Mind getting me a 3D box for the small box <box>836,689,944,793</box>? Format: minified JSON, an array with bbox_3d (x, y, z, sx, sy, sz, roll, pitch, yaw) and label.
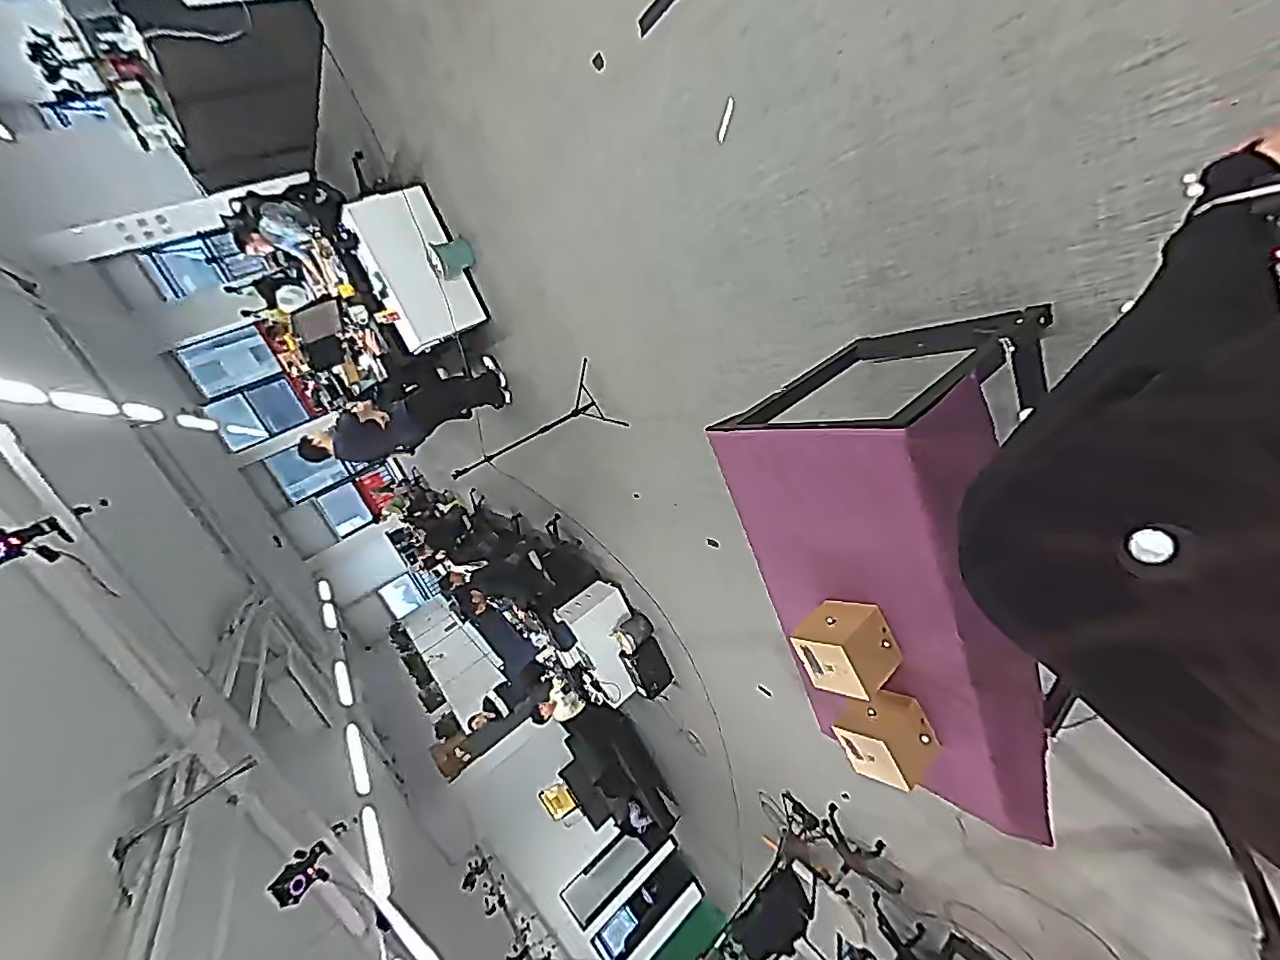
[{"bbox_3d":[0.680,0.698,1.472,0.168,0.176,0.179,60,153,-6],"label":"small box"}]
